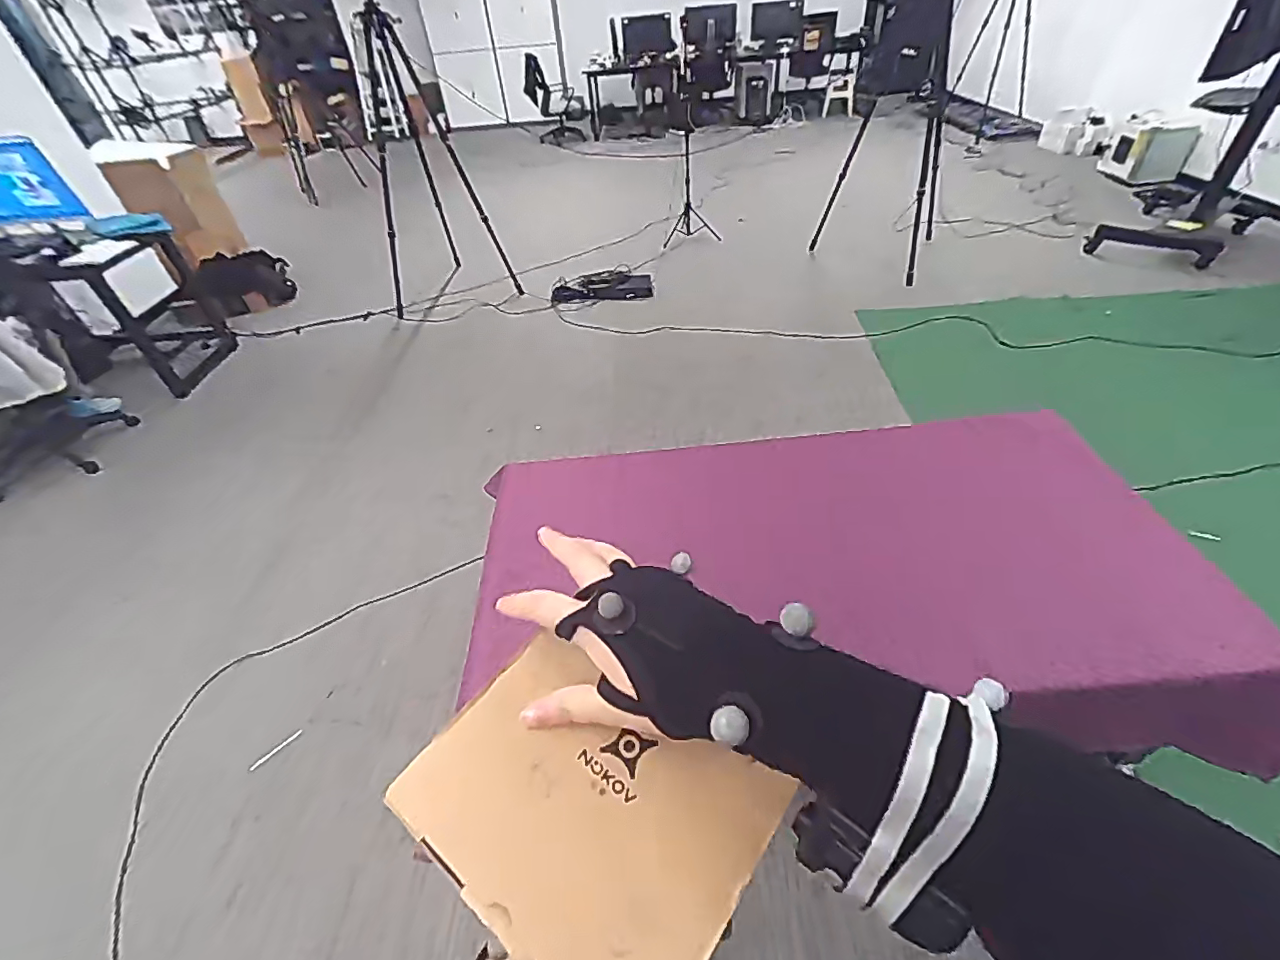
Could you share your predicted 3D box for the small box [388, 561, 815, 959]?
[{"bbox_3d":[-0.020,0.195,0.354,0.168,0.176,0.179,35,57,20],"label":"small box"}]
